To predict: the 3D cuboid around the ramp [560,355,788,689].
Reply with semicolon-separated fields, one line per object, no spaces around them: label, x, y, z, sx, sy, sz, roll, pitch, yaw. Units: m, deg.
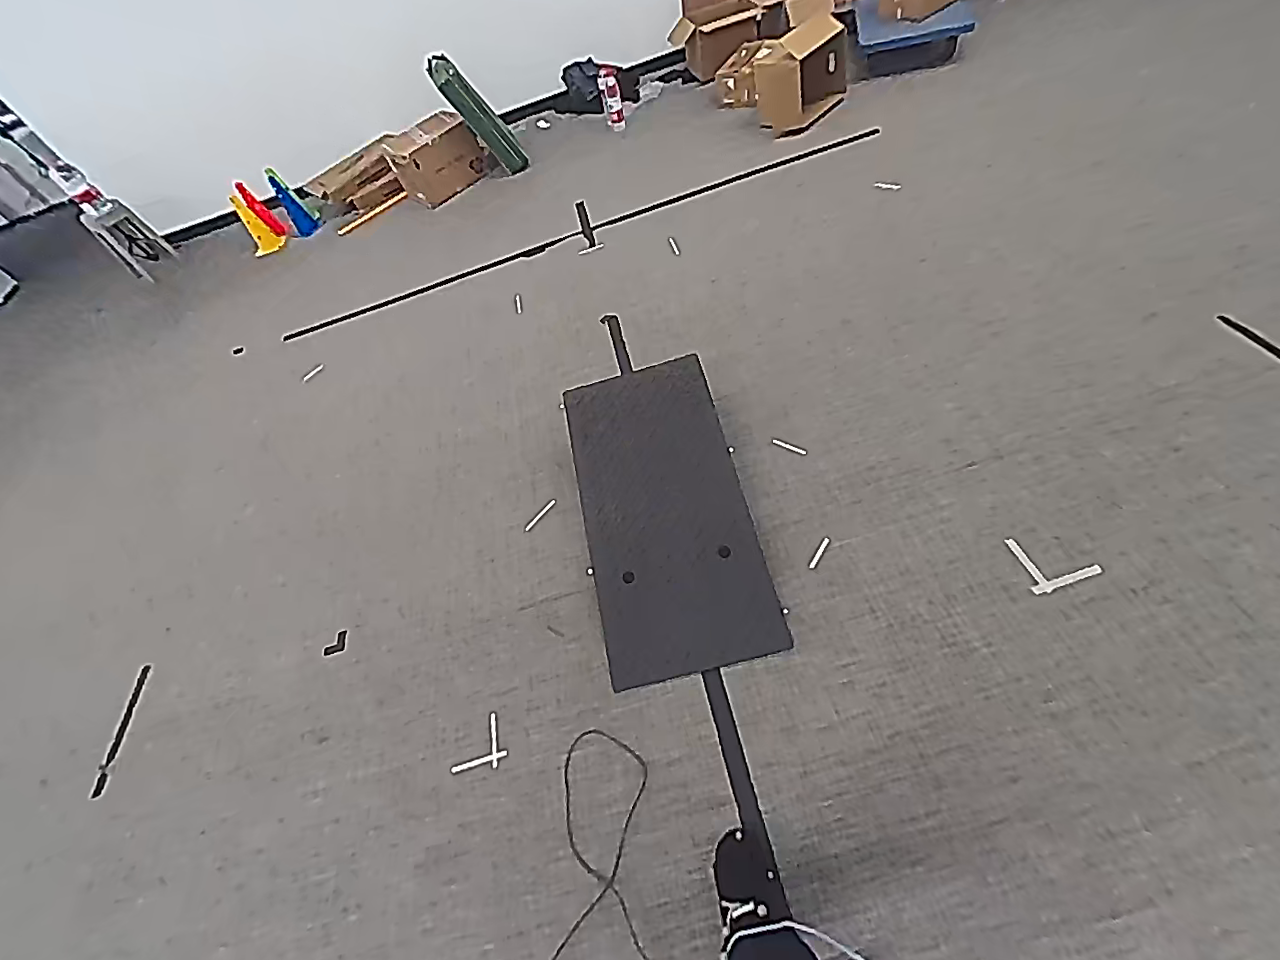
ramp;0.057;0.065;1.648;0.509;0.206;0.991;-17;52;3
